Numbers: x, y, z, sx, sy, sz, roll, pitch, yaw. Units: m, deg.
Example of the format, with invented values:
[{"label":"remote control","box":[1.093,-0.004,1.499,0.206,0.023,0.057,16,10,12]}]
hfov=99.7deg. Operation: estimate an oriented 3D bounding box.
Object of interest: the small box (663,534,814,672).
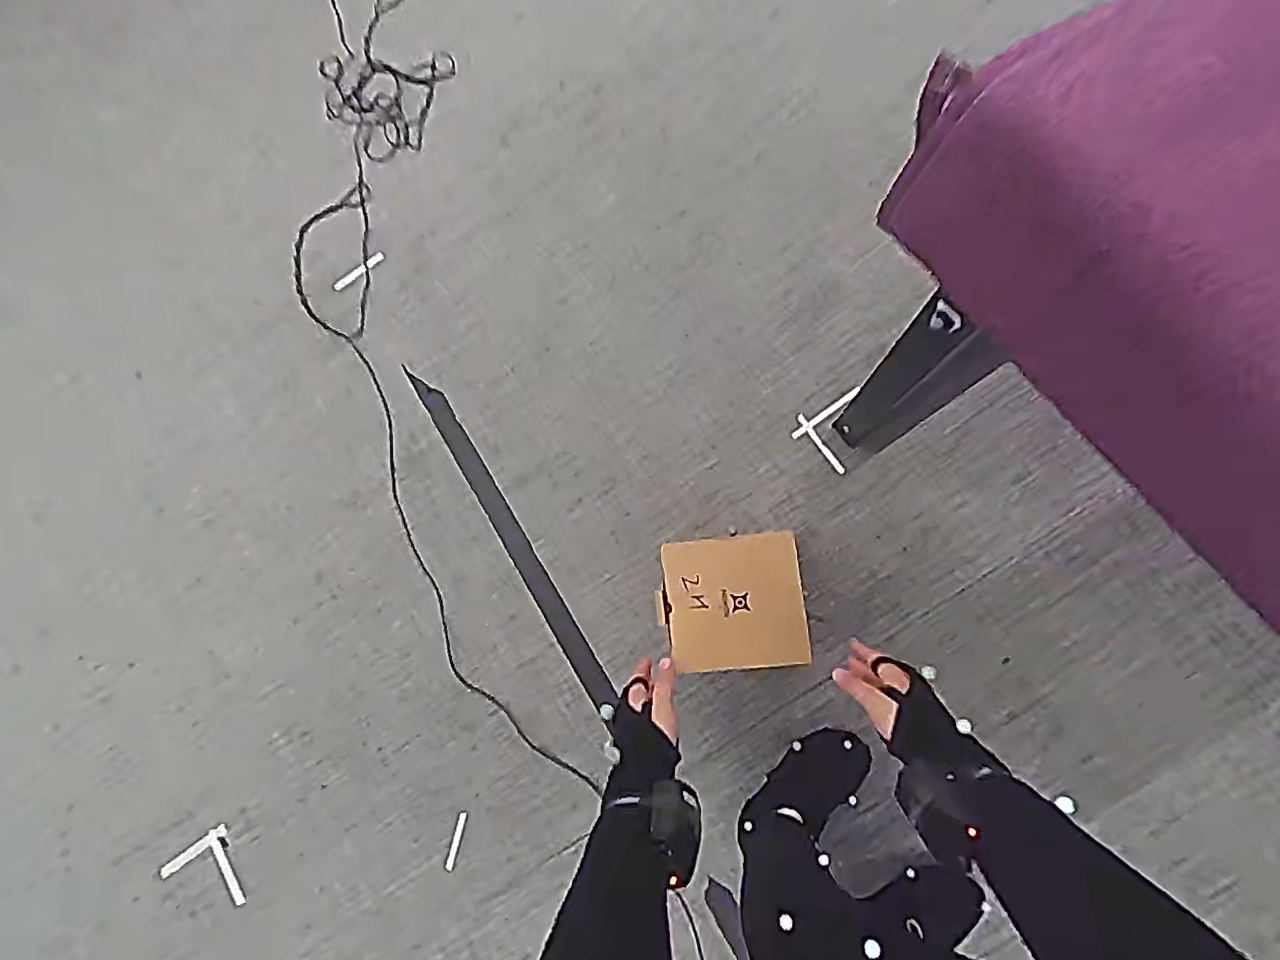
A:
[{"label":"small box","box":[0.135,0.165,0.763,0.179,0.176,0.168,-7,81,10]}]
